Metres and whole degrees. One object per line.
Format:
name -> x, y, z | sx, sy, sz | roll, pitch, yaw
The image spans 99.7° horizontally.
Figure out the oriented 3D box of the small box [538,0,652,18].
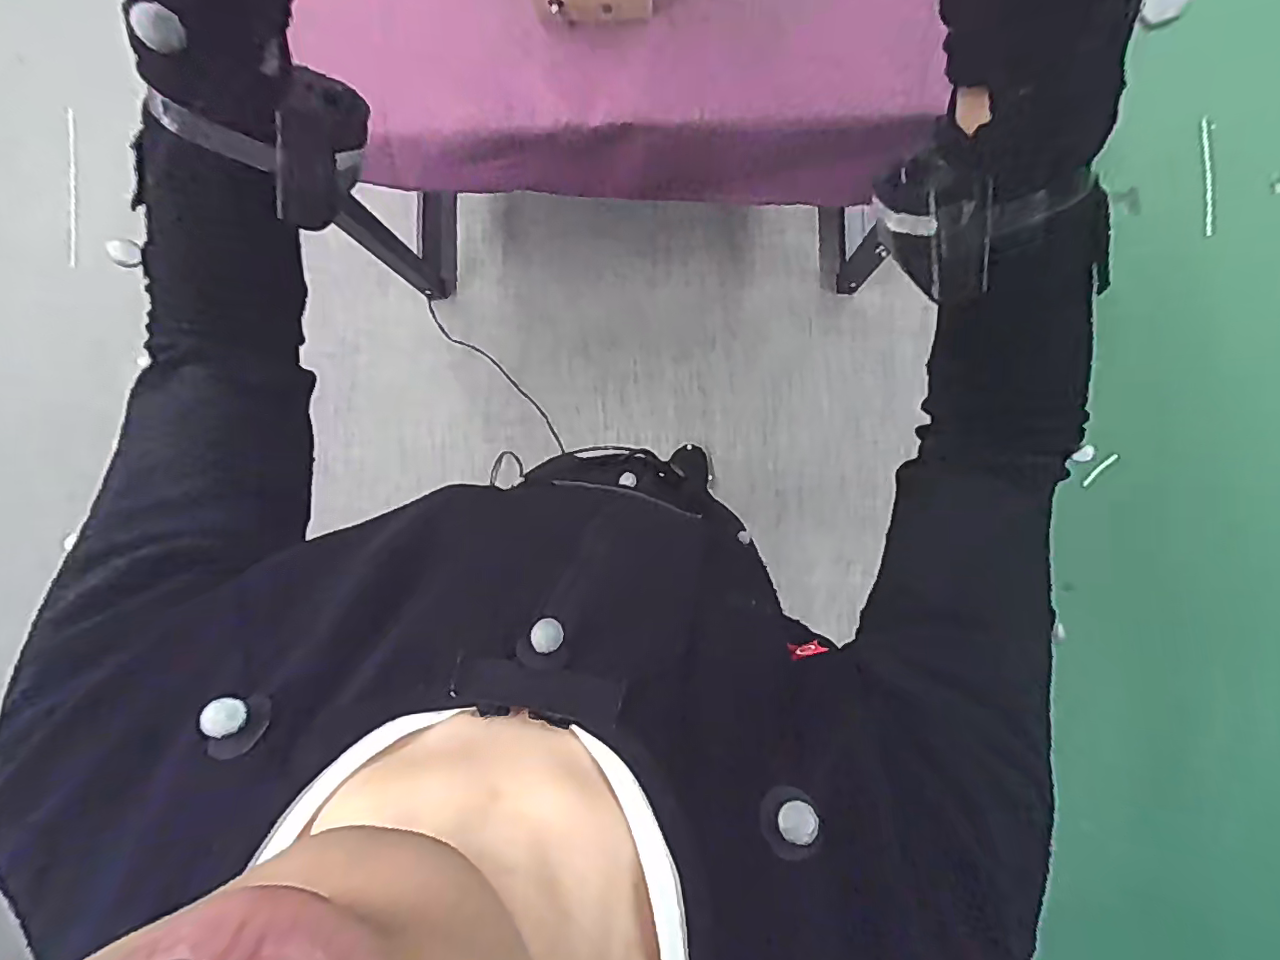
small box -> -0.067, -0.747, 0.700 | 0.168, 0.176, 0.179 | 1, 88, 3
